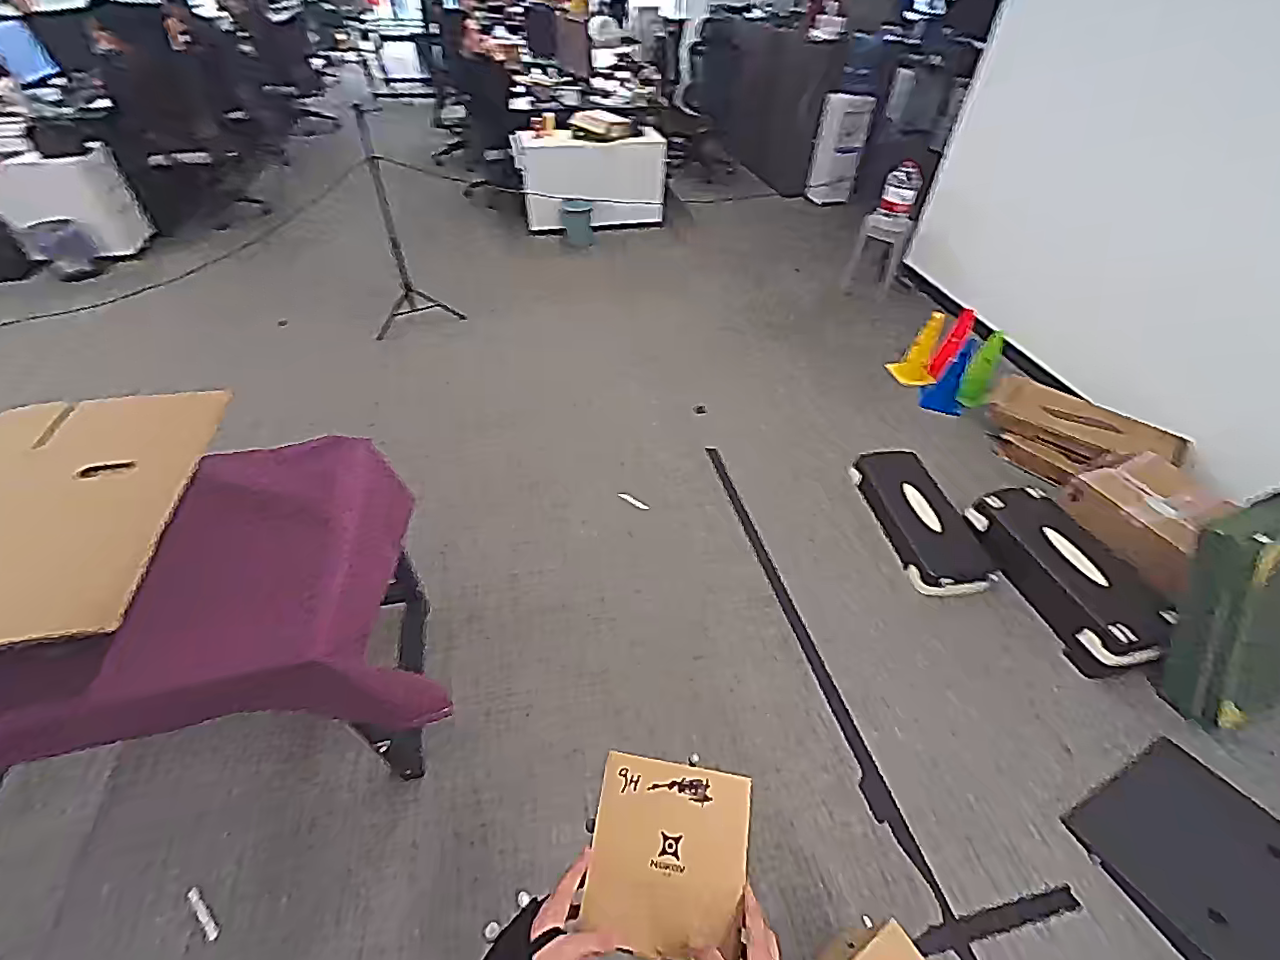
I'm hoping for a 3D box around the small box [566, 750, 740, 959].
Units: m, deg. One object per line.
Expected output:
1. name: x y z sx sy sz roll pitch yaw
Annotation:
1. small box: 0.019 0.434 0.646 0.168 0.176 0.179 9 63 3
